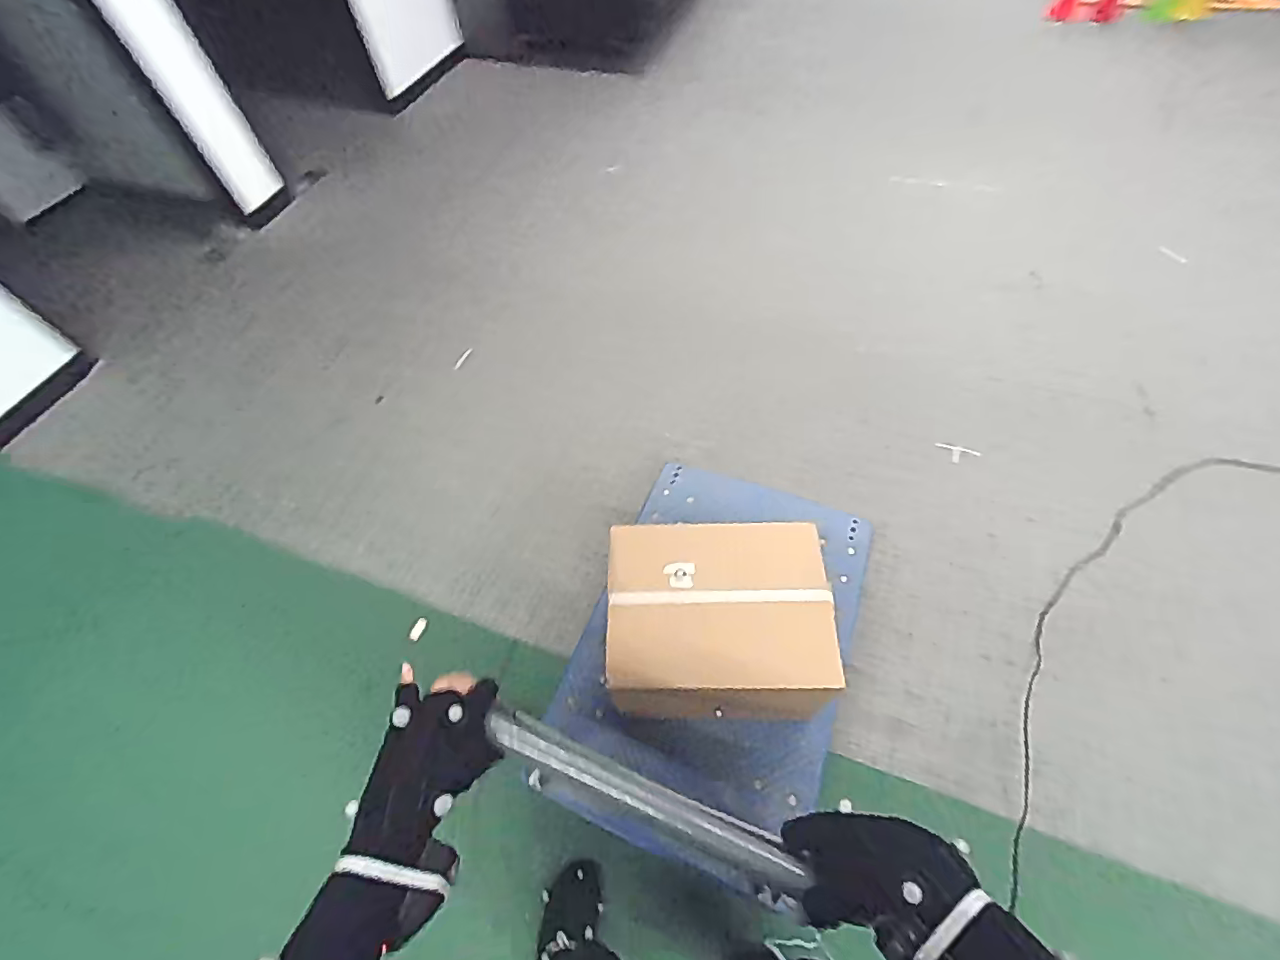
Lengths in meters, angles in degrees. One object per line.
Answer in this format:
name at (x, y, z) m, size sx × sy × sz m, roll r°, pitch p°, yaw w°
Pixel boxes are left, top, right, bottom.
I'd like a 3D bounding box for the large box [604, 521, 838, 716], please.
large box at (0.148, 0.300, 1.121) m, size 0.408 × 0.320 × 0.320 m, roll -3°, pitch 57°, yaw 4°
